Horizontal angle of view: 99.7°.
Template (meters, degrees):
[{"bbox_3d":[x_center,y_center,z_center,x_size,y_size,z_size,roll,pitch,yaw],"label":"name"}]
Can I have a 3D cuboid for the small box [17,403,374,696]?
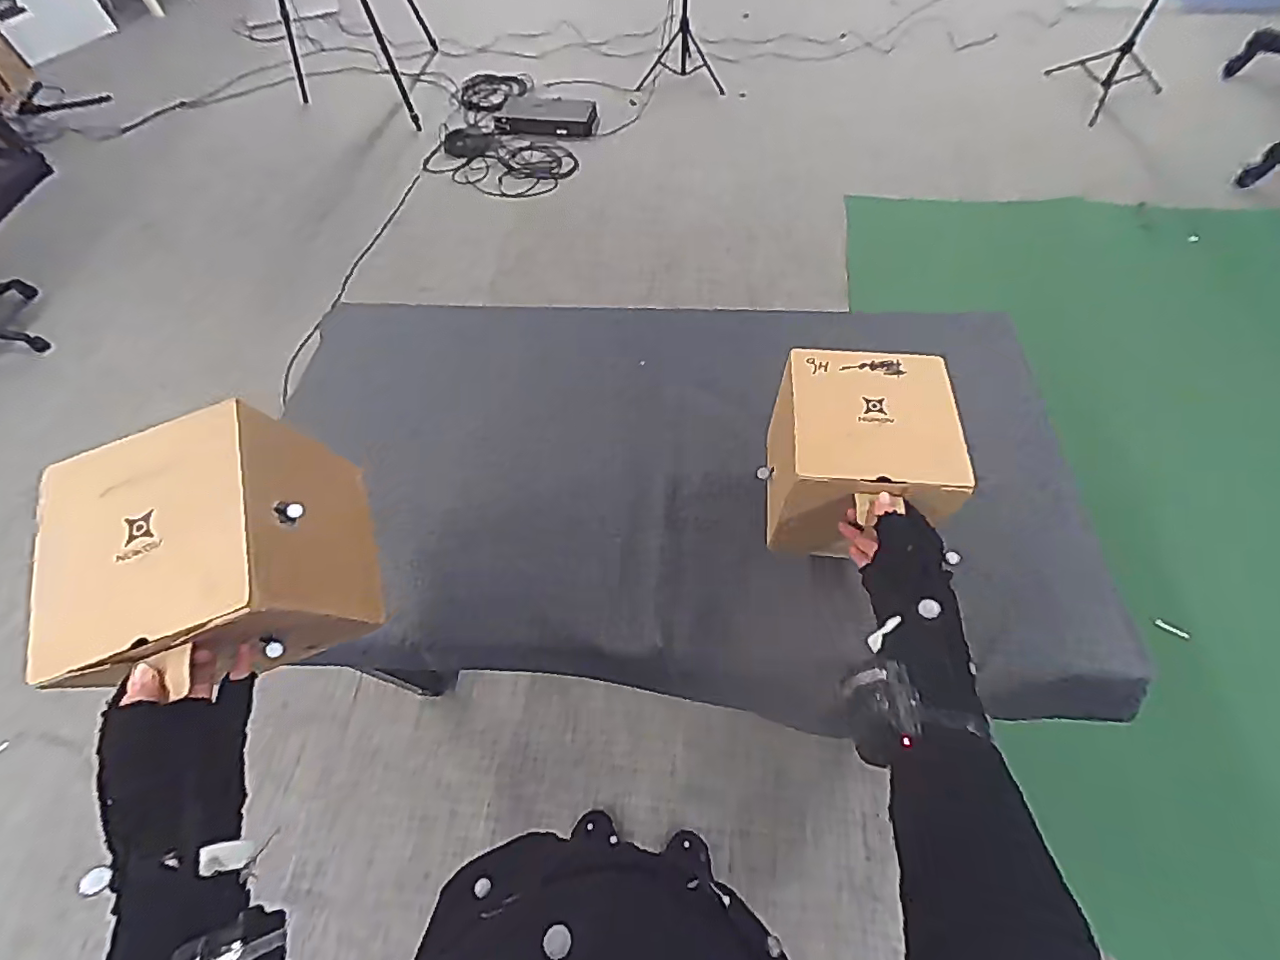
[{"bbox_3d":[-0.357,0.068,0.466,0.168,0.176,0.179,-20,69,-1],"label":"small box"}]

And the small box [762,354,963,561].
[{"bbox_3d":[0.239,-0.020,0.628,0.168,0.176,0.179,5,58,5],"label":"small box"}]
